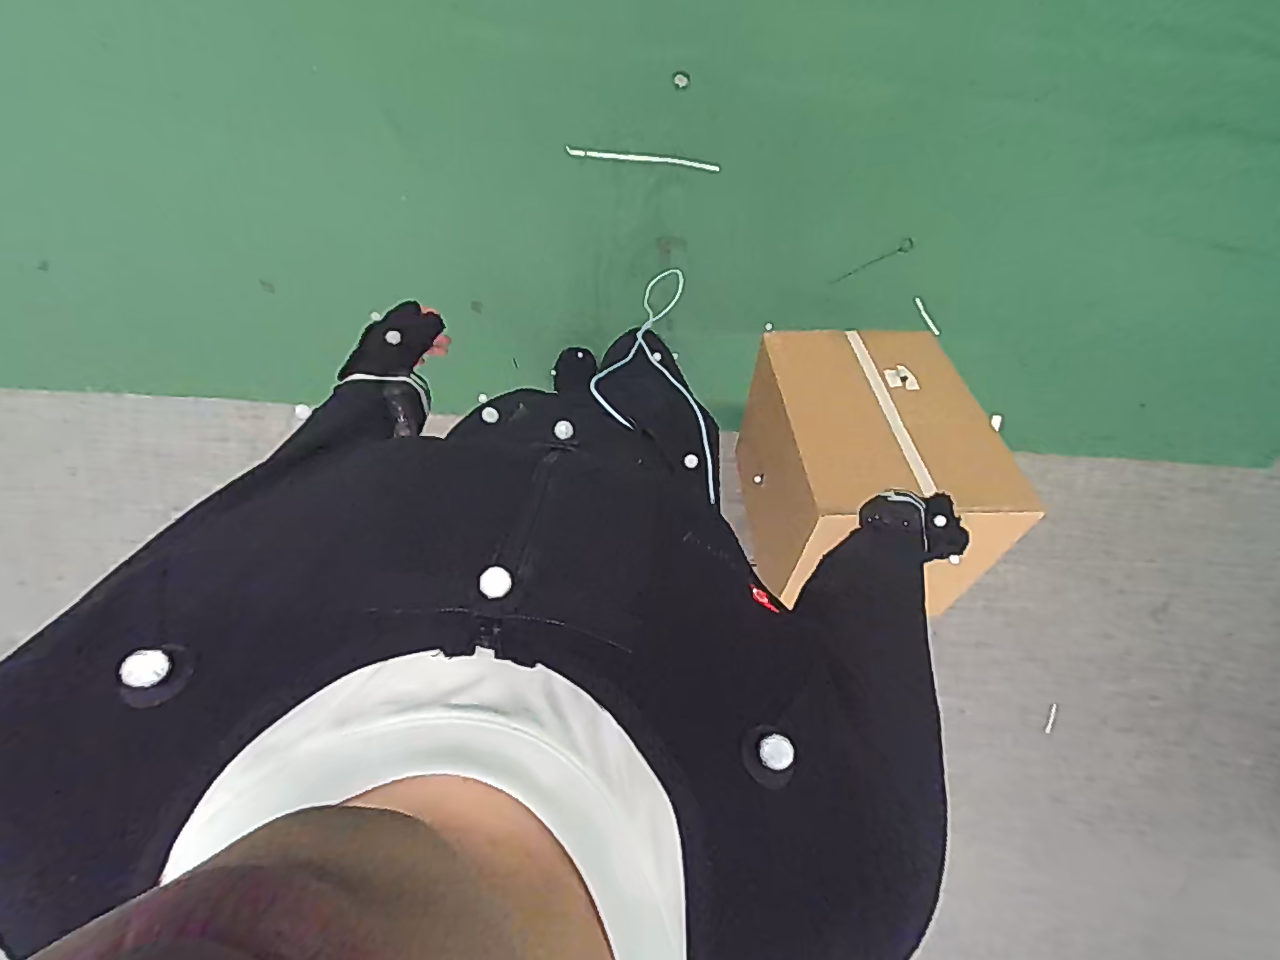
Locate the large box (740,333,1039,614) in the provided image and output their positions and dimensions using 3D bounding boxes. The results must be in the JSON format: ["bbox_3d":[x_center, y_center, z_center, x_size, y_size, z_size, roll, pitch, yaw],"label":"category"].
[{"bbox_3d":[0.381,-0.013,0.966,0.320,0.408,0.320,0,140,-3],"label":"large box"}]
